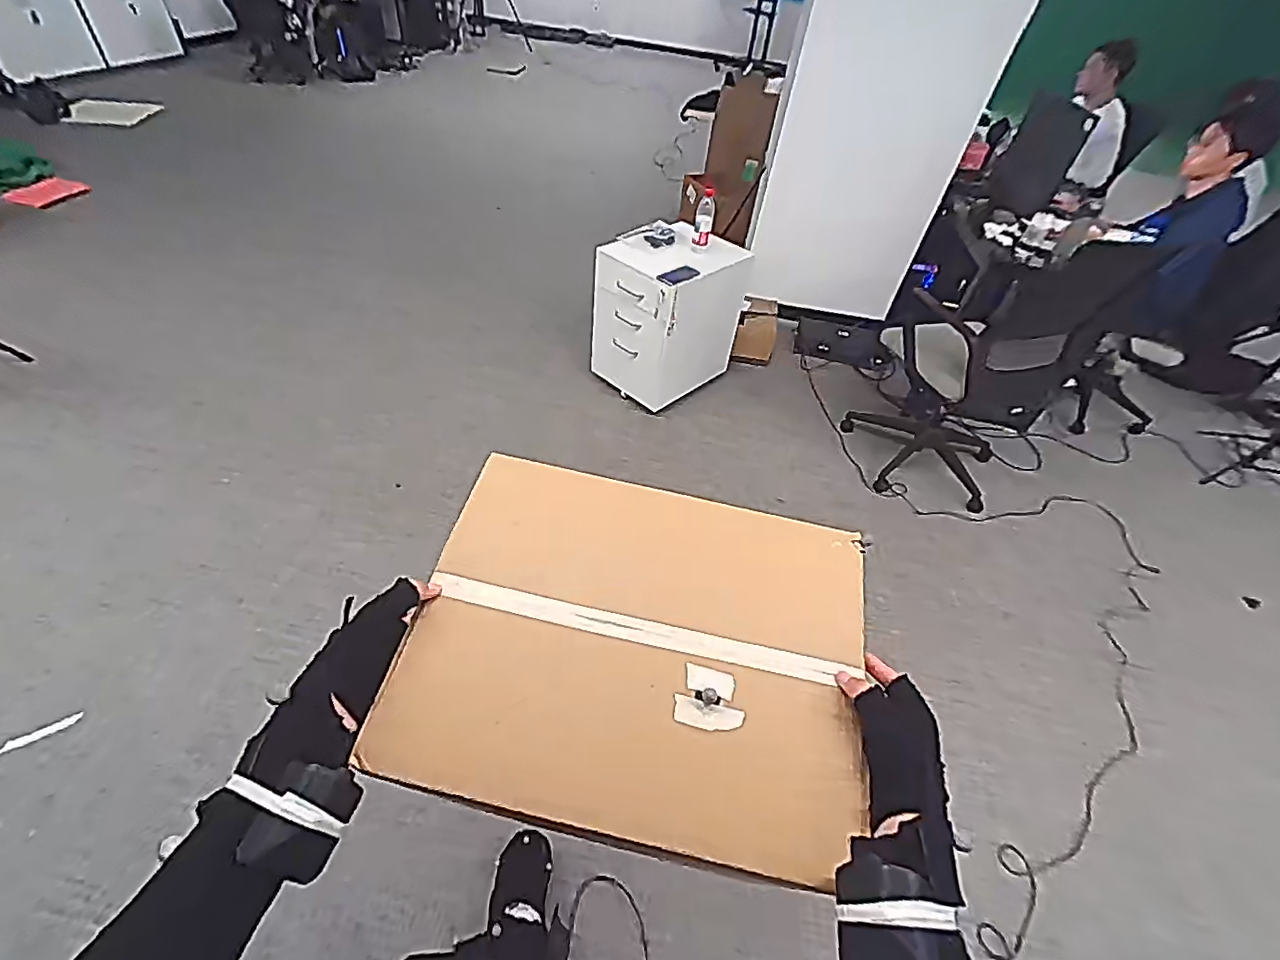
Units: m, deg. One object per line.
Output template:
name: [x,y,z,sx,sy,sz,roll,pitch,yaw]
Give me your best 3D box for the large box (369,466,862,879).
large box: [-0.010,0.227,0.626,0.408,0.320,0.320,13,56,2]
